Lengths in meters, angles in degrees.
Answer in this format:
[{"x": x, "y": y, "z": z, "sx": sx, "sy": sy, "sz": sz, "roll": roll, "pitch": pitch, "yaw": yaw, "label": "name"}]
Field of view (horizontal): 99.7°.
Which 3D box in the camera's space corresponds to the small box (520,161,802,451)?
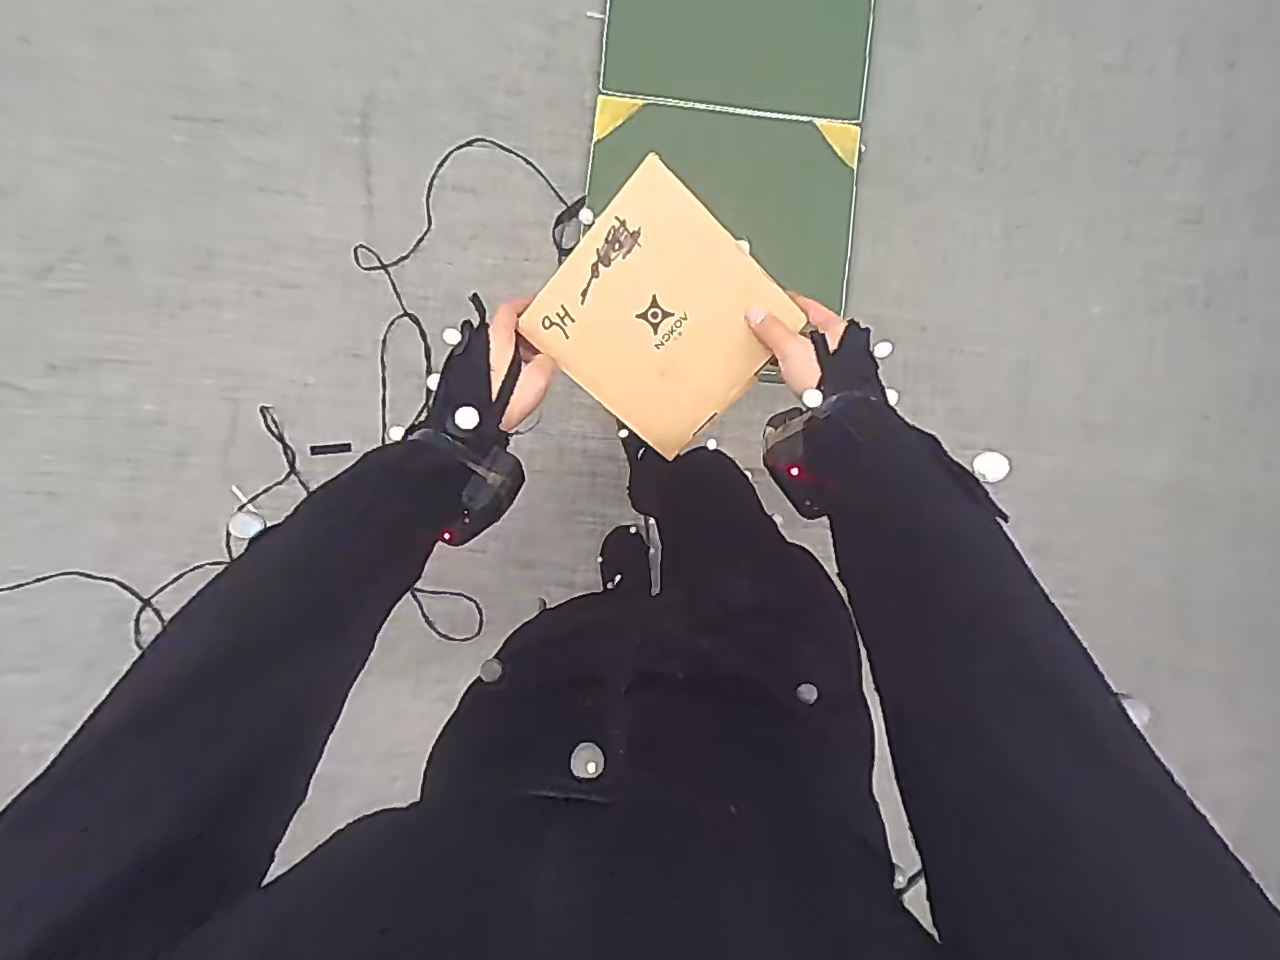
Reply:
[{"x": 0.017, "y": -0.164, "z": 0.515, "sx": 0.179, "sy": 0.176, "sz": 0.168, "roll": 40, "pitch": 107, "yaw": -16, "label": "small box"}]
